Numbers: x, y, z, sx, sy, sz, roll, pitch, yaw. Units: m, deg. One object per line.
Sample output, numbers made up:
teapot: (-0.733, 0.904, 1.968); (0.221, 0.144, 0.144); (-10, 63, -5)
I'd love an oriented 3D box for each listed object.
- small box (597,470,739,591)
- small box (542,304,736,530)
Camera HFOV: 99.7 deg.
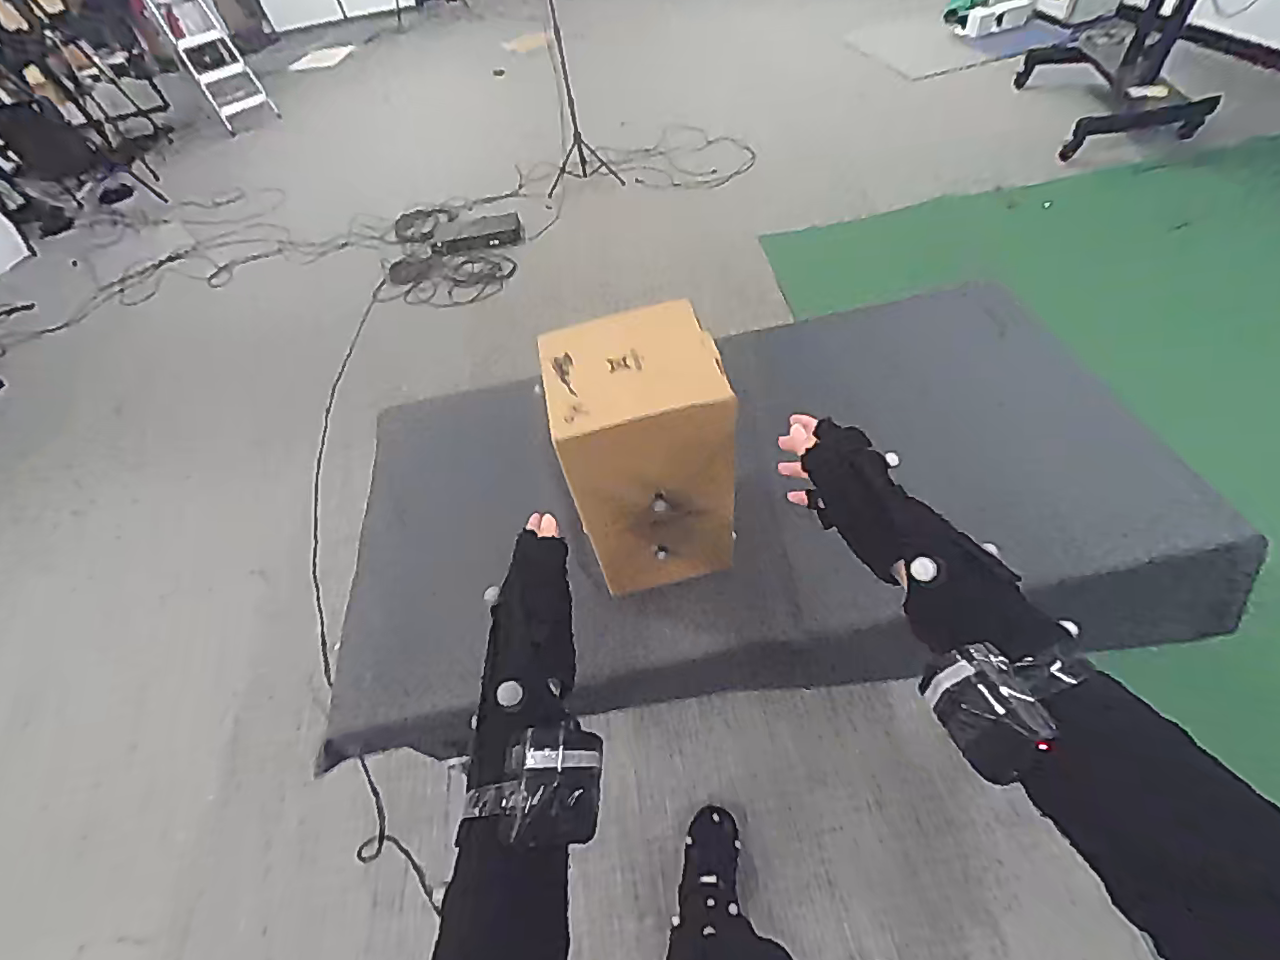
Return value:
small box: (0.023, 0.028, 0.742); (0.179, 0.176, 0.168); (-15, 52, -4)
small box: (-0.001, -0.067, 0.609); (0.179, 0.176, 0.168); (-13, 51, -2)
